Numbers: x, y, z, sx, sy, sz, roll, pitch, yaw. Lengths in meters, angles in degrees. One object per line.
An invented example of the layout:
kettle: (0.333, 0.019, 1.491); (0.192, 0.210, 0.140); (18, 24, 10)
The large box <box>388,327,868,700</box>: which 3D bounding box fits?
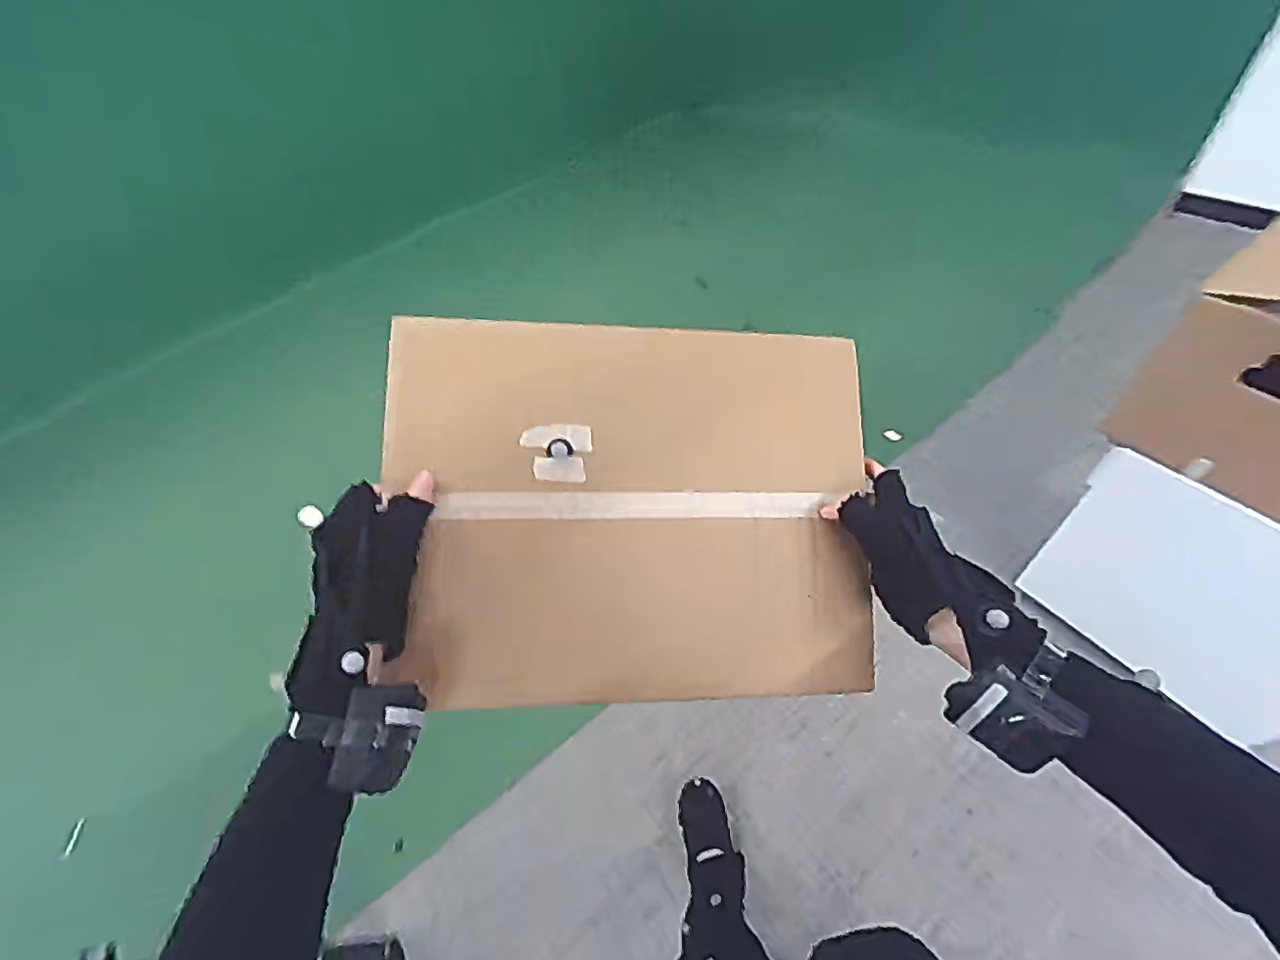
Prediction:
large box: (-0.015, 0.038, 0.607); (0.408, 0.320, 0.320); (1, 82, -6)
